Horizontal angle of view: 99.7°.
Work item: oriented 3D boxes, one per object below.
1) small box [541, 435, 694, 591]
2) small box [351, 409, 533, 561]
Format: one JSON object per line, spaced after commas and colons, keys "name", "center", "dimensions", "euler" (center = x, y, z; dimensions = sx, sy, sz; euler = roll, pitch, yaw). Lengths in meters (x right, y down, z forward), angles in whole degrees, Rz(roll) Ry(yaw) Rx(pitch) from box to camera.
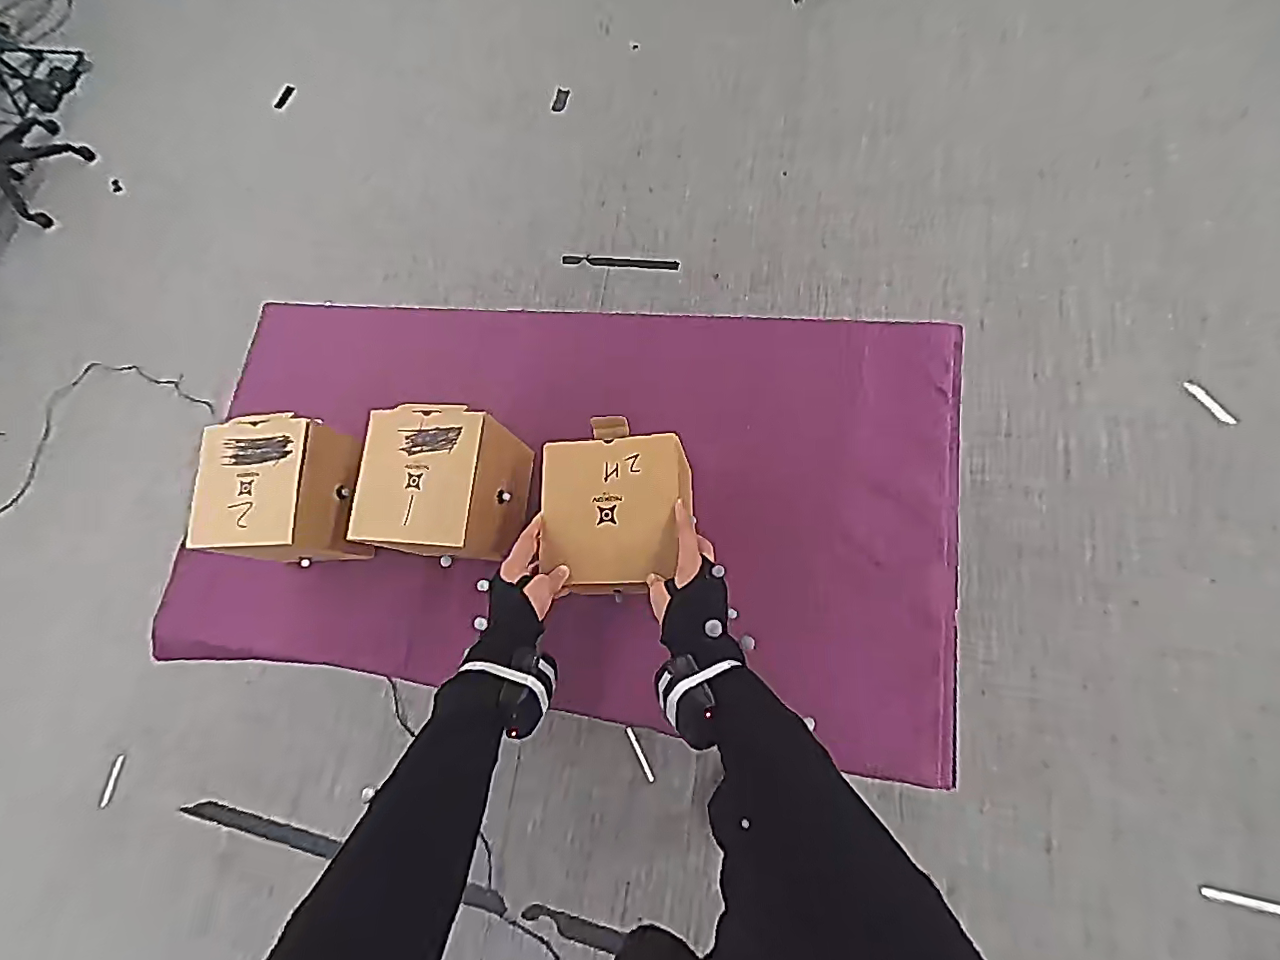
{"name": "small box", "center": [-0.020, 0.053, 0.705], "dimensions": [0.168, 0.176, 0.179], "euler": [-3, 74, 10]}
{"name": "small box", "center": [-0.264, 0.013, 0.765], "dimensions": [0.168, 0.176, 0.179], "euler": [3, 76, 12]}
